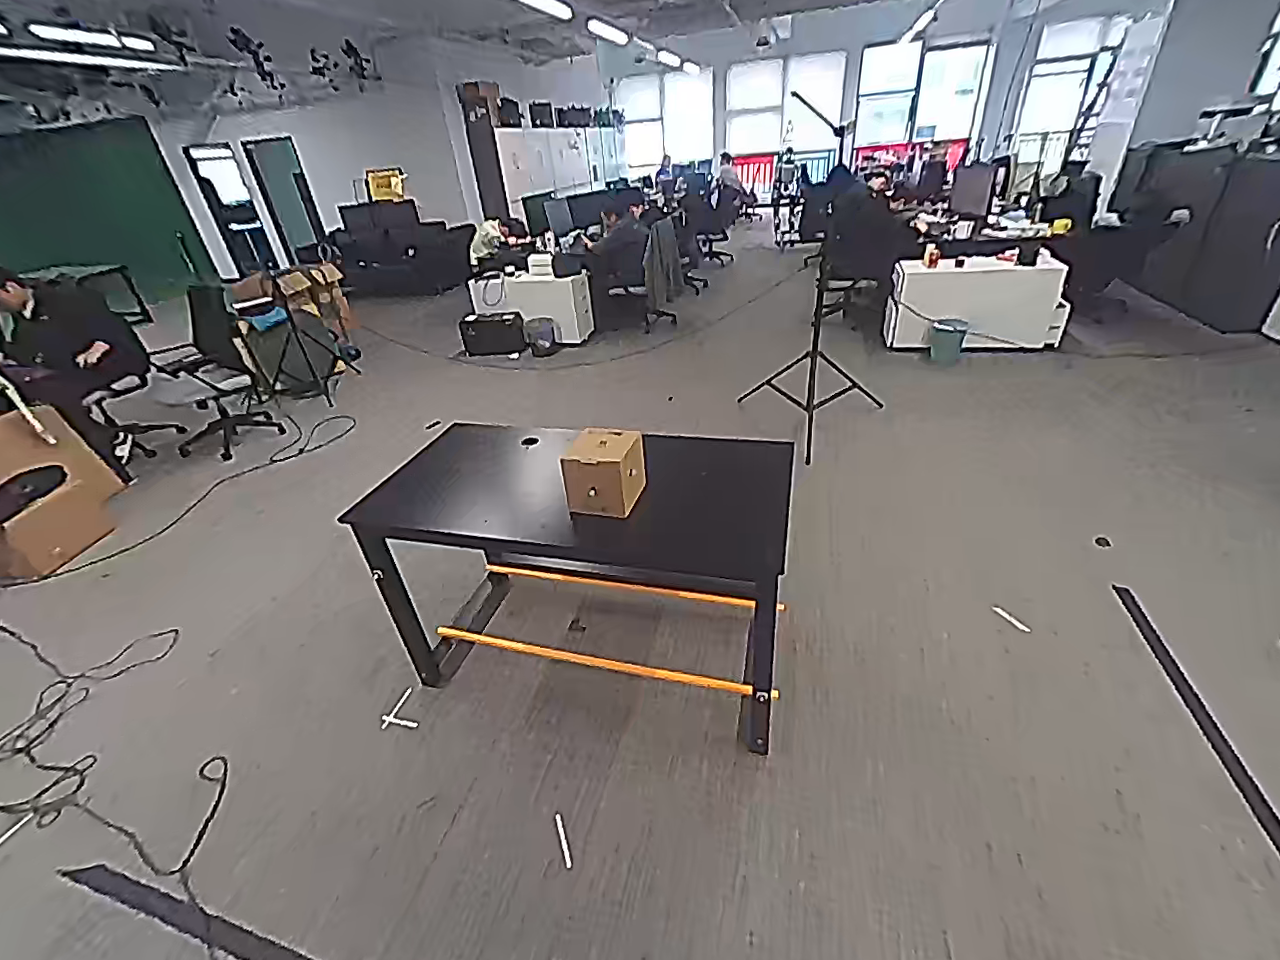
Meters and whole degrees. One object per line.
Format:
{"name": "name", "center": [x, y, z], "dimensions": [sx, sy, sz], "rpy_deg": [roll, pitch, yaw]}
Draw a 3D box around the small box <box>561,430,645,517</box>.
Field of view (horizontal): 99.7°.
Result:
{"name": "small box", "center": [-0.091, -0.019, 1.448], "dimensions": [0.168, 0.176, 0.179], "rpy_deg": [5, 33, 18]}
